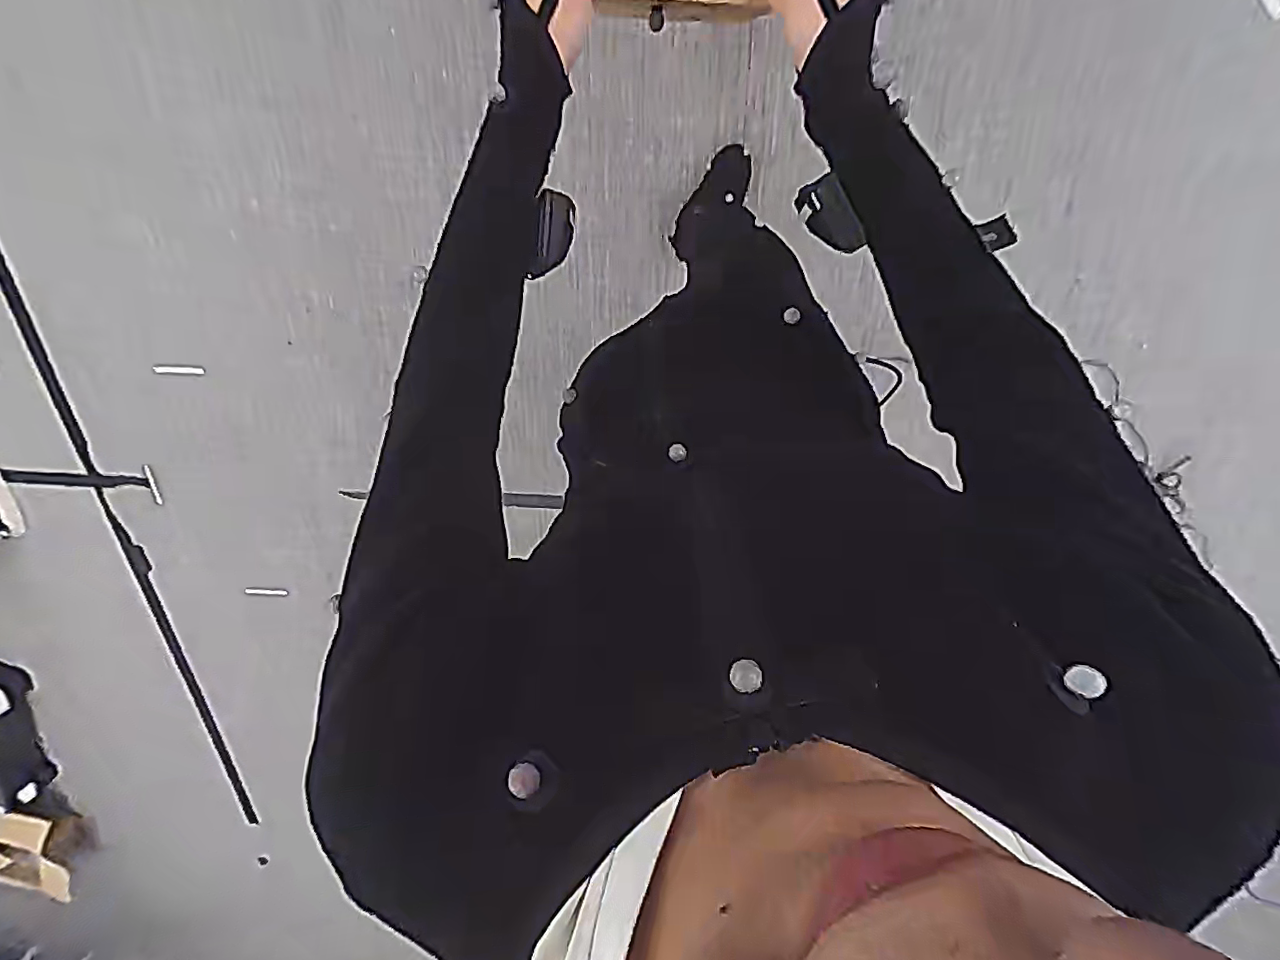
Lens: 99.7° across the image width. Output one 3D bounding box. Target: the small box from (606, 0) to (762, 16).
[{"bbox_3d":[0.040,-0.506,0.444,0.168,0.176,0.179,1,125,-3],"label":"small box"}]
